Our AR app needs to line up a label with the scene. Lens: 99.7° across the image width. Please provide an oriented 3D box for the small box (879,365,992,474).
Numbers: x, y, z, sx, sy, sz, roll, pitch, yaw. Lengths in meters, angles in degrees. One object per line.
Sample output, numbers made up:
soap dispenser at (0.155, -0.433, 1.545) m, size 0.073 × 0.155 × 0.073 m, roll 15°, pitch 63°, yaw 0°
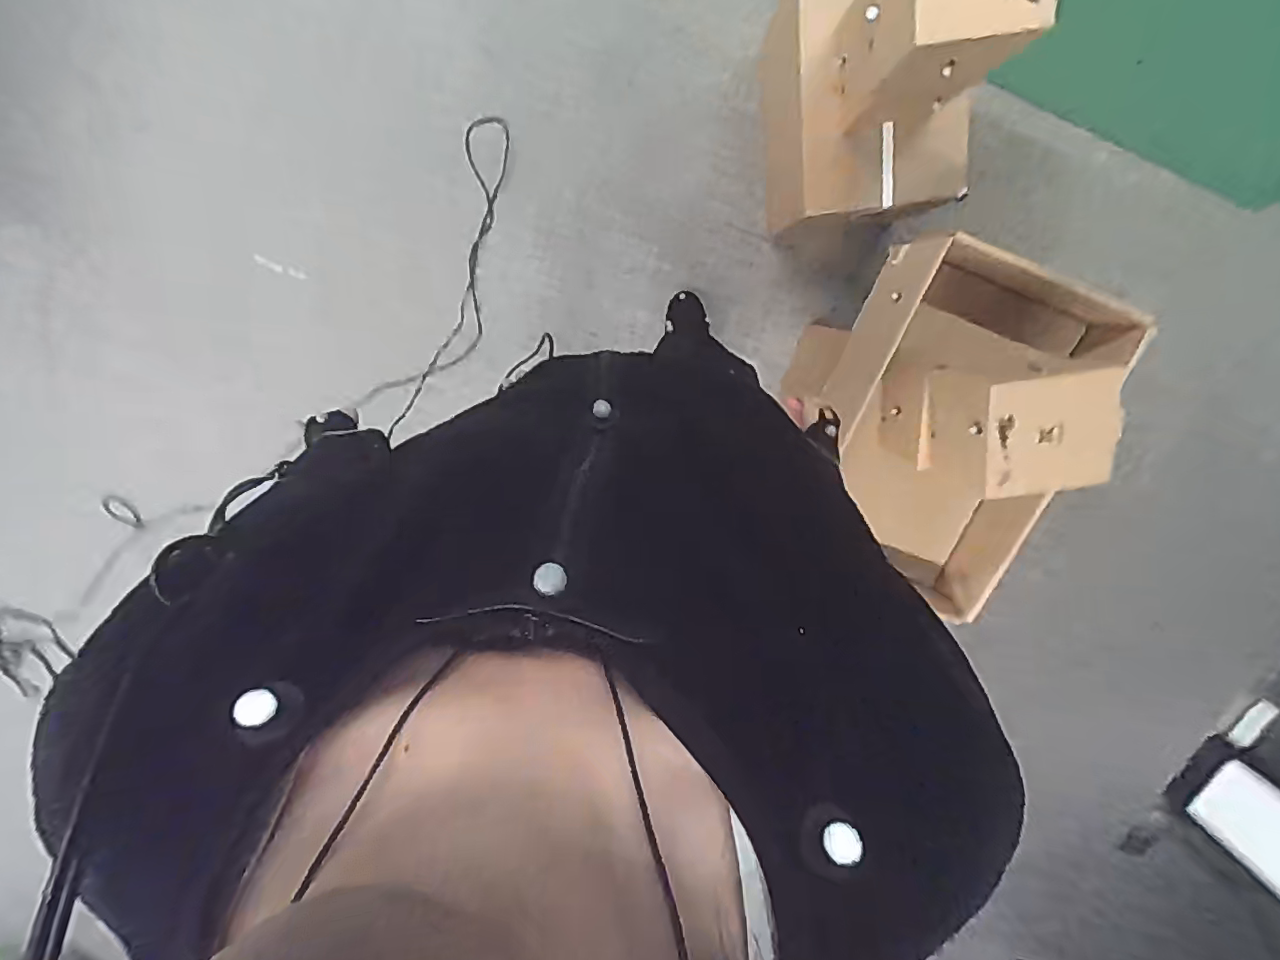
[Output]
small box at (0.550, -0.113, 0.968) m, size 0.179 × 0.176 × 0.168 m, roll -3°, pitch 108°, yaw 1°

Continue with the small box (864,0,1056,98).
small box at (0.427, -0.653, 0.737) m, size 0.179 × 0.176 × 0.168 m, roll -6°, pitch 106°, yaw 3°

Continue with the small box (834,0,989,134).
small box at (0.440, -0.703, 0.893) m, size 0.179 × 0.176 × 0.168 m, roll -10°, pitch 106°, yaw 4°

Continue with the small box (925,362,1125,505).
small box at (0.557, -0.077, 0.807) m, size 0.179 × 0.176 × 0.168 m, roll -8°, pitch 107°, yaw 3°
